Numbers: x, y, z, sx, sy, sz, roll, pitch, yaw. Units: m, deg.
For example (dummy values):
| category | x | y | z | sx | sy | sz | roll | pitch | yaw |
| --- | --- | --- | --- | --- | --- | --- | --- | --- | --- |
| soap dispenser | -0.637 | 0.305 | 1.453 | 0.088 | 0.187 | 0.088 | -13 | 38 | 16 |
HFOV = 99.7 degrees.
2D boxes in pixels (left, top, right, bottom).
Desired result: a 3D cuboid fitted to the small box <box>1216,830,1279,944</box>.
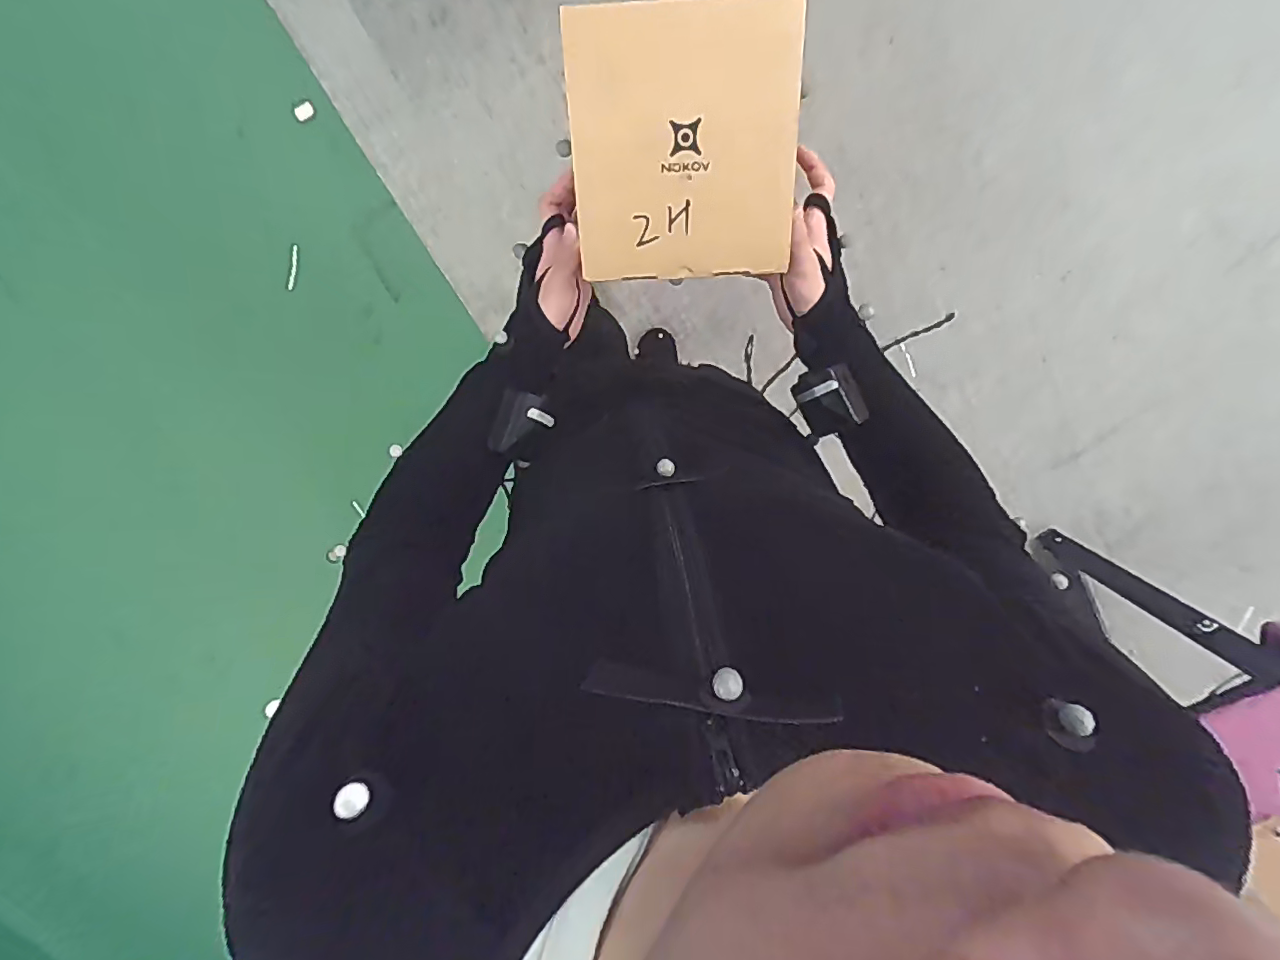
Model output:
| category | x | y | z | sx | sy | sz | roll | pitch | yaw |
| --- | --- | --- | --- | --- | --- | --- | --- | --- | --- |
| small box | 1.325 | 0.836 | 1.080 | 0.168 | 0.176 | 0.179 | -31 | 107 | 11 |

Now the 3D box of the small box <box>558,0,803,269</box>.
| category | x | y | z | sx | sy | sz | roll | pitch | yaw |
| --- | --- | --- | --- | --- | --- | --- | --- | --- | --- |
| small box | 0.029 | -0.280 | 0.460 | 0.168 | 0.176 | 0.179 | -2 | 116 | 2 |
